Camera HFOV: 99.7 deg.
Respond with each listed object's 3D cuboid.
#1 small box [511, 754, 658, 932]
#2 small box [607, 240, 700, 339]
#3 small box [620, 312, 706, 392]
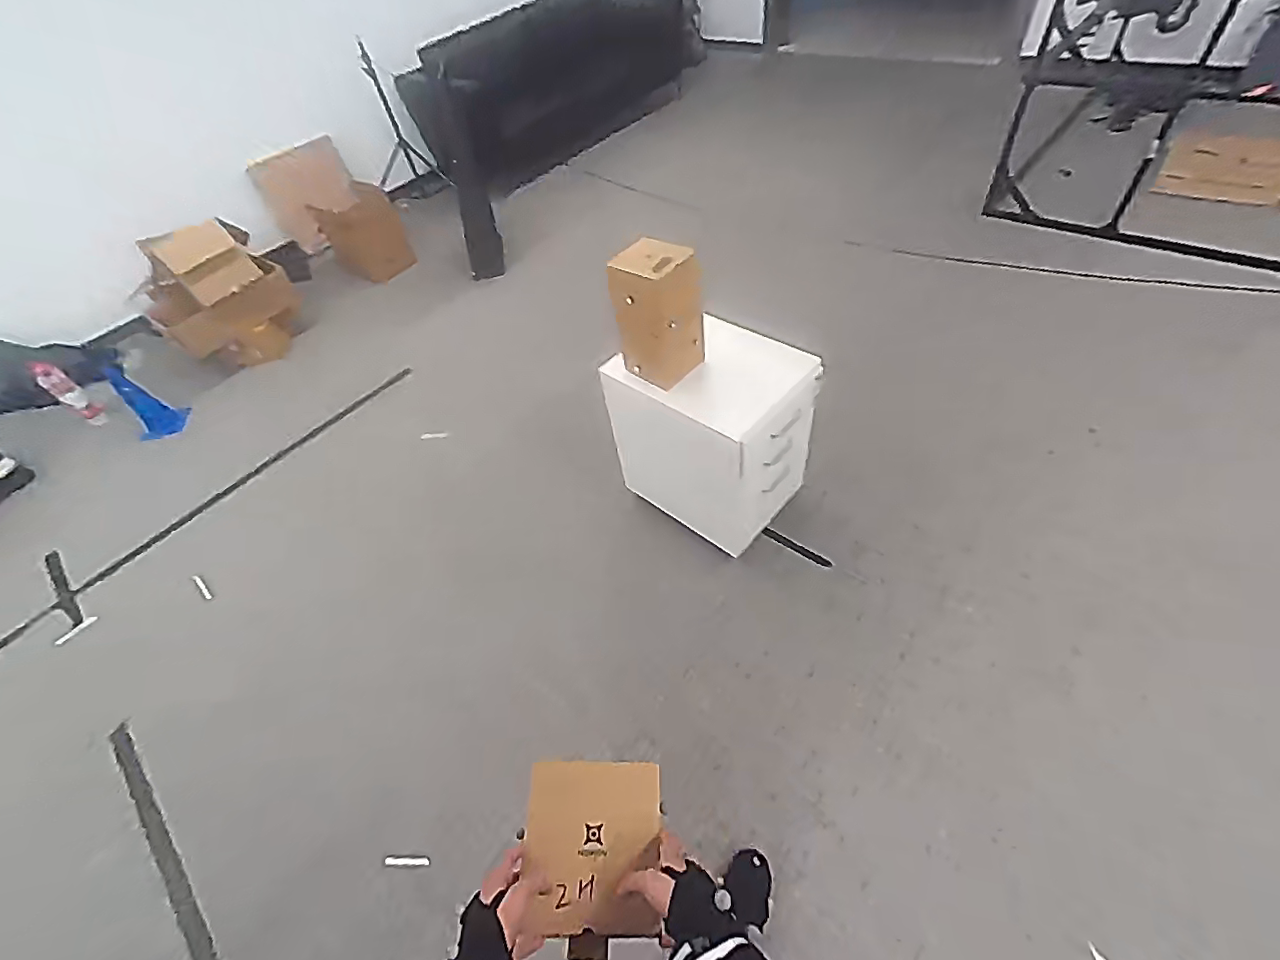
[{"bbox_3d":[-0.065,0.474,0.709,0.168,0.176,0.179,2,53,-2],"label":"small box"},{"bbox_3d":[0.042,-0.488,1.396,0.179,0.176,0.168,29,59,31],"label":"small box"},{"bbox_3d":[0.067,-0.380,1.517,0.168,0.176,0.179,34,62,31],"label":"small box"}]
